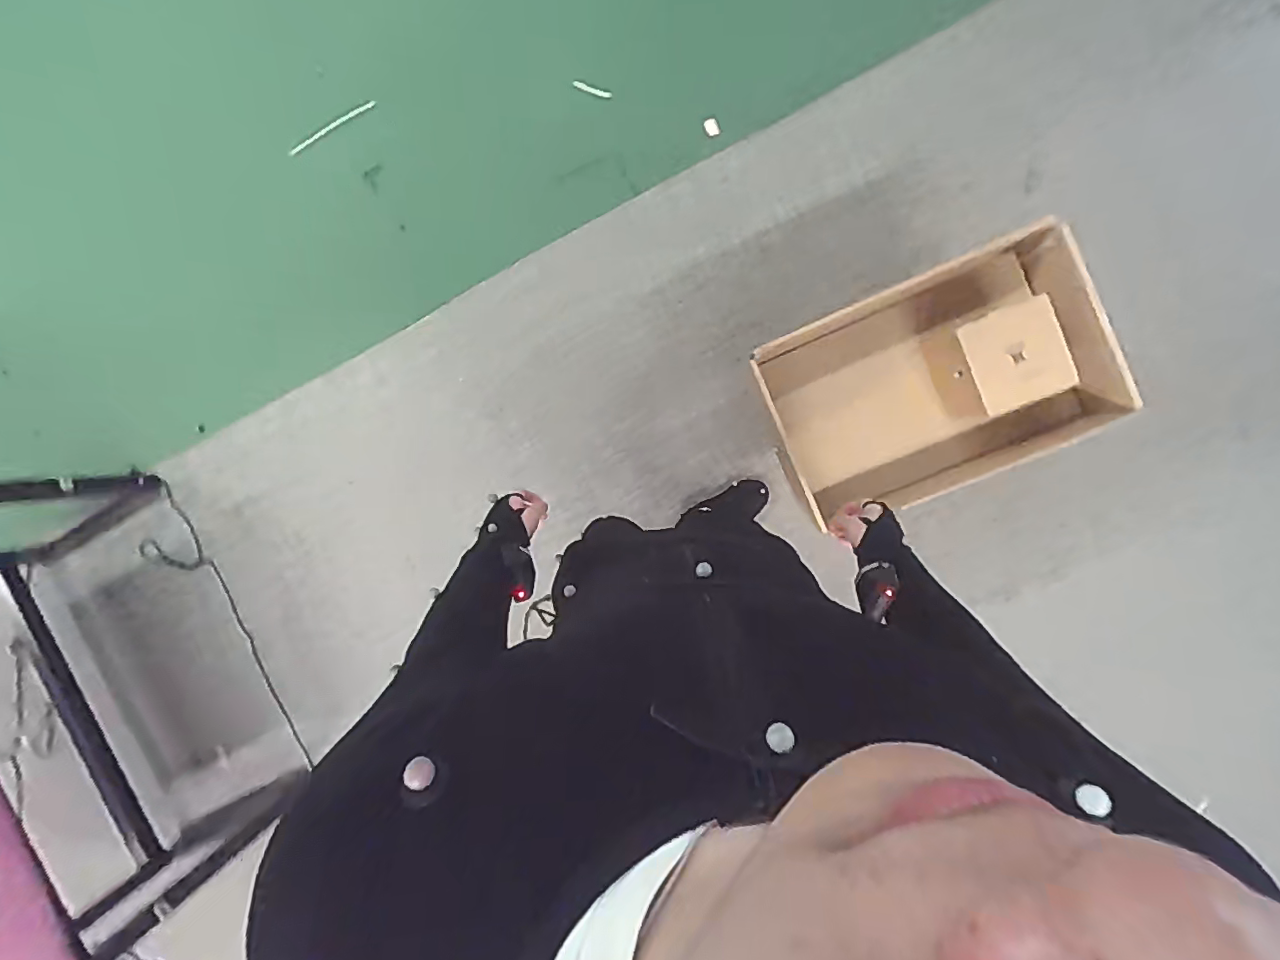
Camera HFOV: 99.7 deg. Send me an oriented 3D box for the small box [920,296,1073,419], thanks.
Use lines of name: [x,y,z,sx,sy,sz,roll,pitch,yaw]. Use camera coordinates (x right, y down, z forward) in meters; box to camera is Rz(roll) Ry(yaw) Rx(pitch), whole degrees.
small box: [0.684,-0.229,1.060,0.168,0.176,0.179,-21,92,6]
